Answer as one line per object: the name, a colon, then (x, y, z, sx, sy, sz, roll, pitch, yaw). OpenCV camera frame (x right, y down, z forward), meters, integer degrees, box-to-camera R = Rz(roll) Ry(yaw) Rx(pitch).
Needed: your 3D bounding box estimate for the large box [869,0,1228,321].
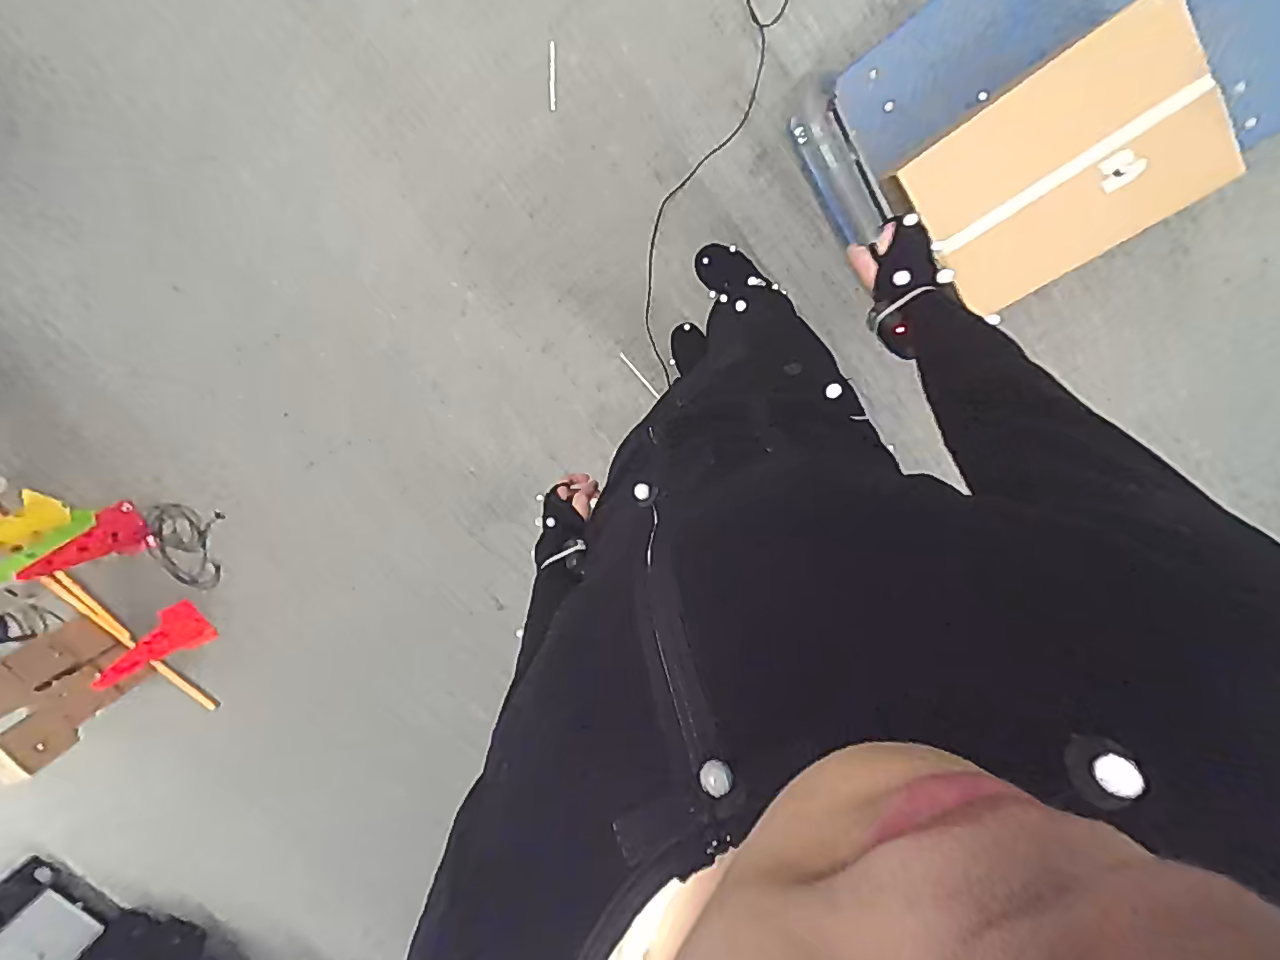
large box: (0.717, -0.568, 1.030, 0.408, 0.320, 0.320, -31, 105, 25)
